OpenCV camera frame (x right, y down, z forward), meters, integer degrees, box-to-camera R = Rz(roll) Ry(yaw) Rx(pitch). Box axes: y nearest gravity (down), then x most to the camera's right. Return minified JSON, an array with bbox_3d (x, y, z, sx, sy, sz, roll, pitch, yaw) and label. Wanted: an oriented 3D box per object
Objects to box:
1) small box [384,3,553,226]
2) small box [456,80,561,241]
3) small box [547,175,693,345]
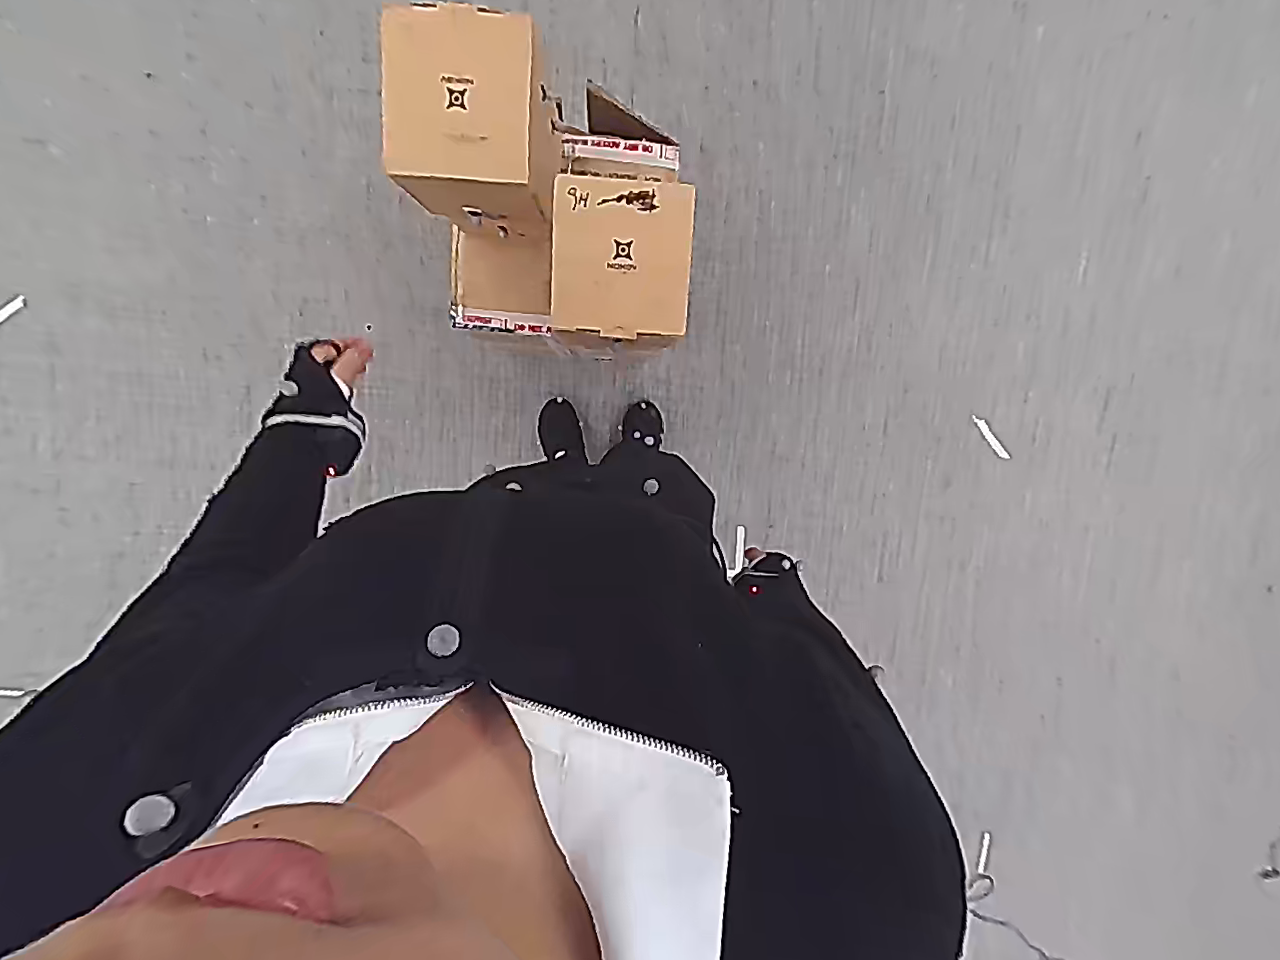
[{"bbox_3d":[-0.204,-0.440,0.680,0.168,0.176,0.179,3,101,-2],"label":"small box"},{"bbox_3d":[-0.215,-0.489,0.836,0.168,0.176,0.179,3,100,-2],"label":"small box"},{"bbox_3d":[-0.028,-0.275,0.717,0.168,0.176,0.179,3,101,-4],"label":"small box"}]
